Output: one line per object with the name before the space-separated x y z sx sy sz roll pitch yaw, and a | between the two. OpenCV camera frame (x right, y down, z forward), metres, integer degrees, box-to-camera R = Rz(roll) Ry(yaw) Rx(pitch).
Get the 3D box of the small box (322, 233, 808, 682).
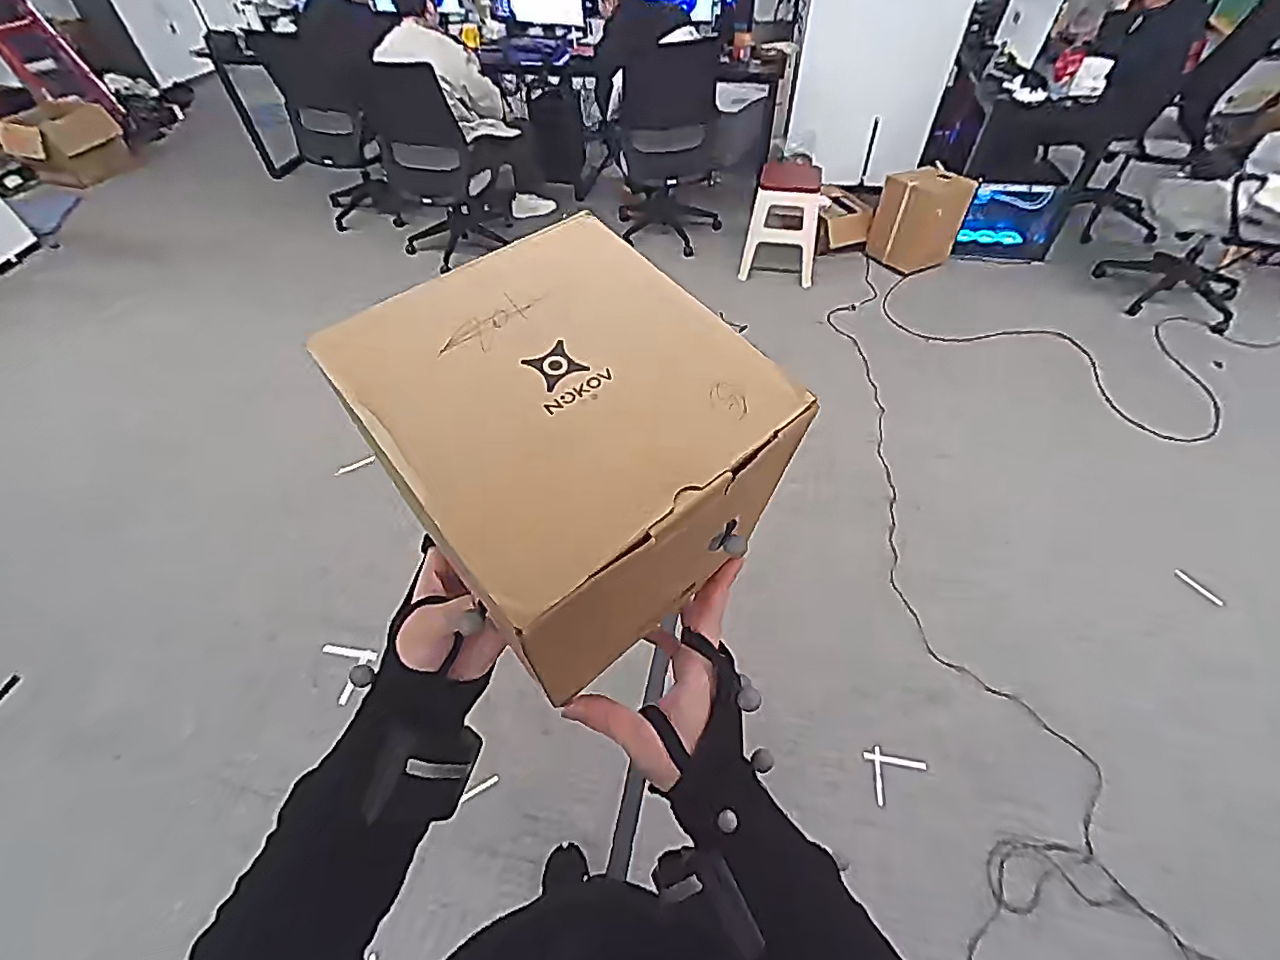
small box | -0.039 -0.003 0.324 0.168 0.176 0.179 -36 67 -23
